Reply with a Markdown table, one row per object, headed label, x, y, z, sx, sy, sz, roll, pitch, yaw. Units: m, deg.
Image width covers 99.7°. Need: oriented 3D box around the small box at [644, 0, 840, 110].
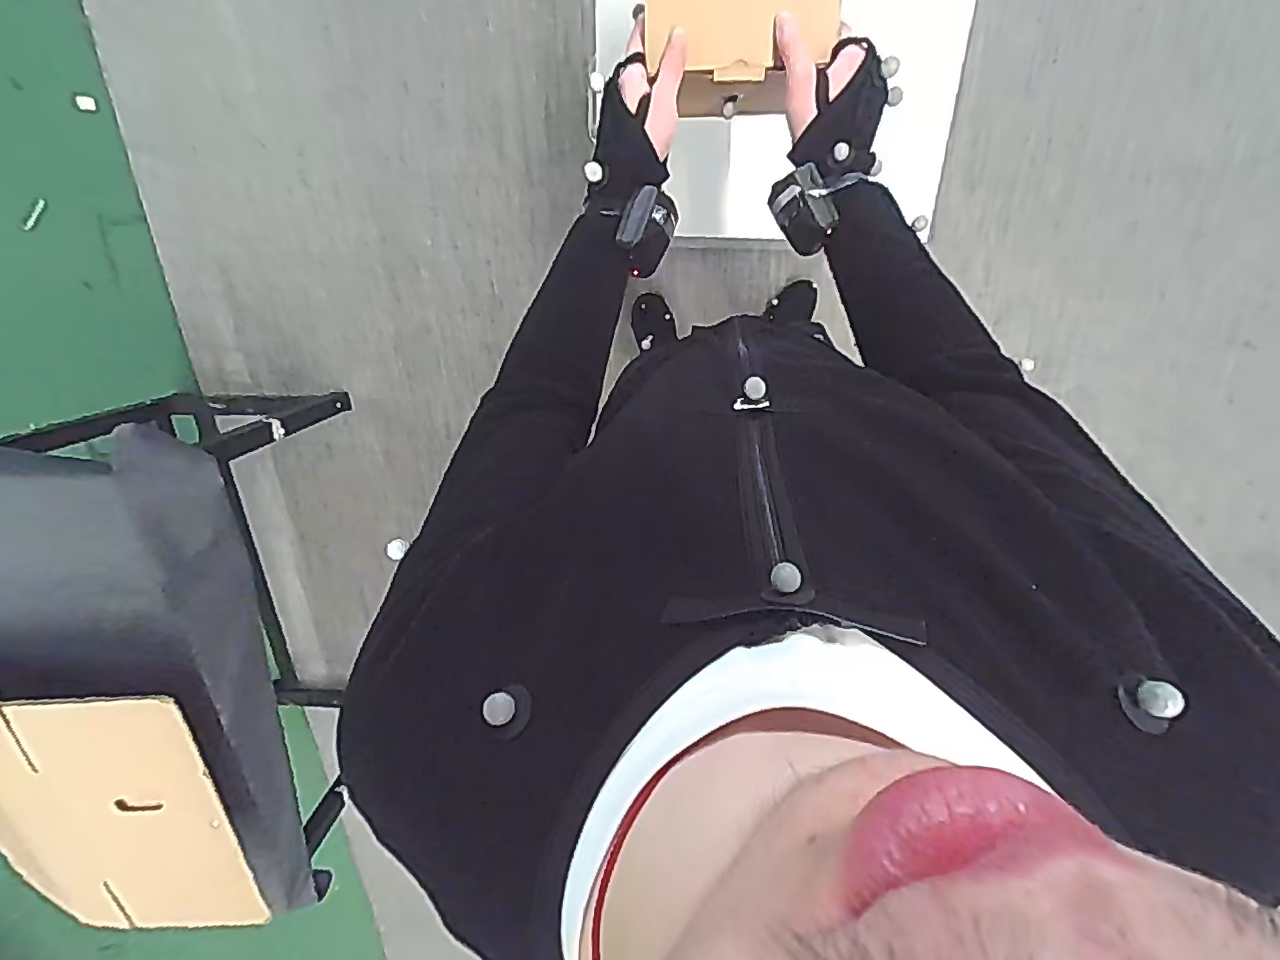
| label | x | y | z | sx | sy | sz | roll | pitch | yaw |
| --- | --- | --- | --- | --- | --- | --- | --- | --- | --- |
| small box | 0.089 | -0.471 | 0.511 | 0.168 | 0.176 | 0.179 | -2 | 112 | 5 |
